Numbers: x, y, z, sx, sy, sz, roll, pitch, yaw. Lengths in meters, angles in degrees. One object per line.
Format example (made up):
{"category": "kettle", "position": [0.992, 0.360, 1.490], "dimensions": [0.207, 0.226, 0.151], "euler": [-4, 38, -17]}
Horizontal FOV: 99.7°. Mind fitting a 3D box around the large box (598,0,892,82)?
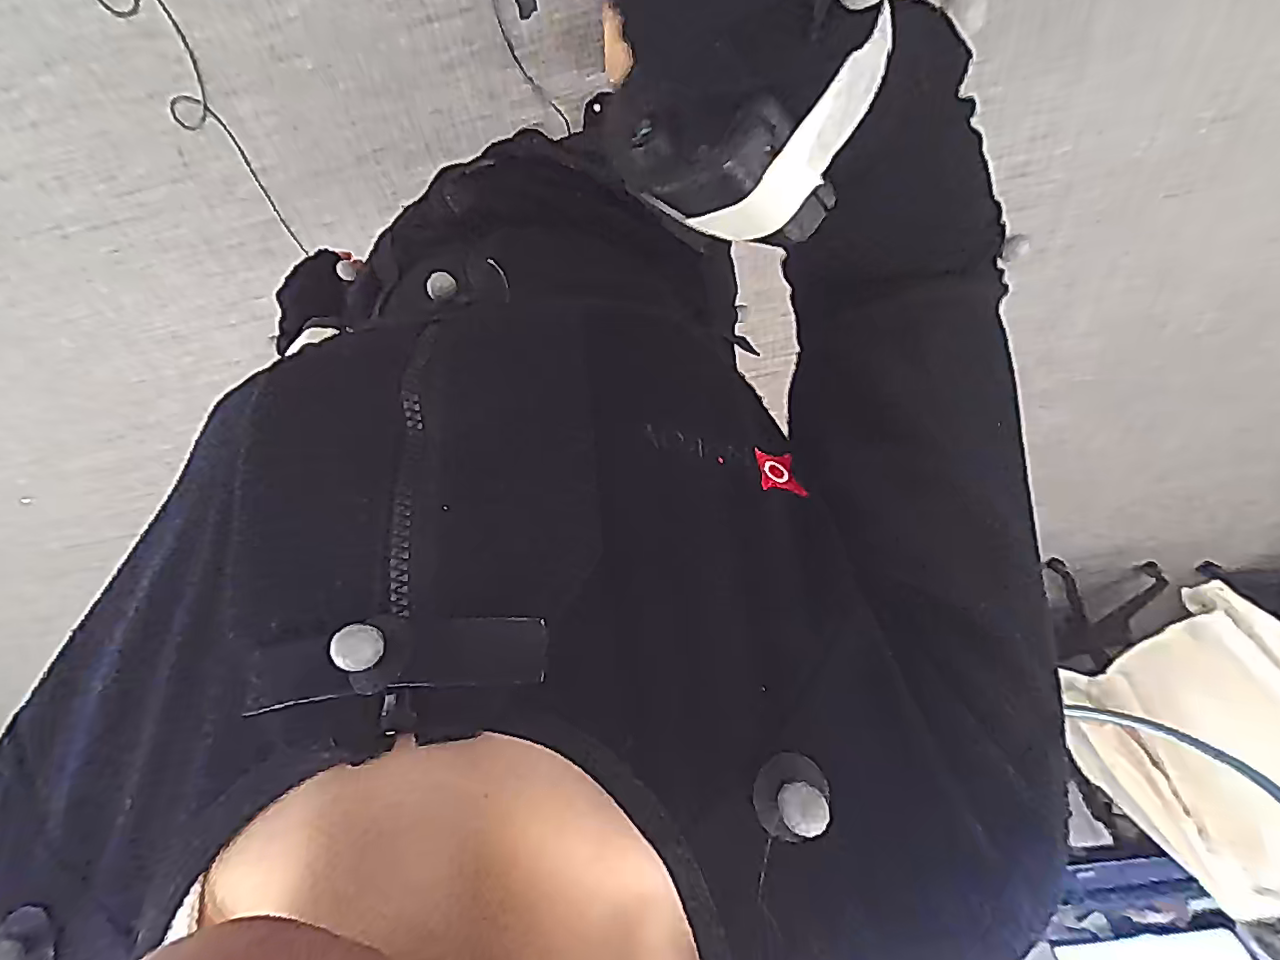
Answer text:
{"category": "large box", "position": [0.136, -0.795, 0.794], "dimensions": [0.408, 0.320, 0.320], "euler": [-2, 129, -2]}
